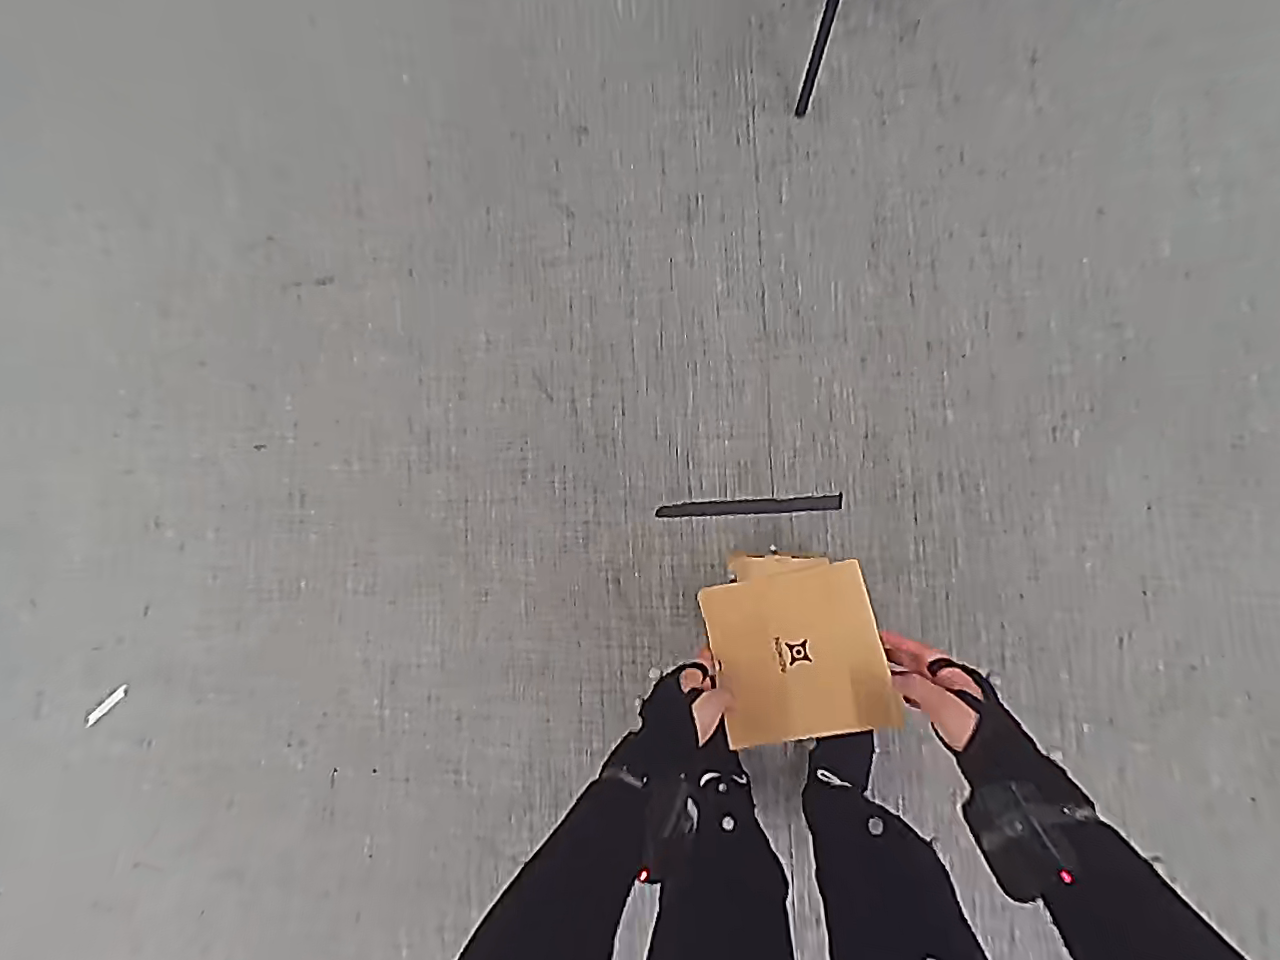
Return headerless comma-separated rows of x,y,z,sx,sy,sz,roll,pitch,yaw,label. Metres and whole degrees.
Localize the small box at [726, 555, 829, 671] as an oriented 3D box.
0.241,0.230,0.973,0.168,0.176,0.179,0,84,9,small box
